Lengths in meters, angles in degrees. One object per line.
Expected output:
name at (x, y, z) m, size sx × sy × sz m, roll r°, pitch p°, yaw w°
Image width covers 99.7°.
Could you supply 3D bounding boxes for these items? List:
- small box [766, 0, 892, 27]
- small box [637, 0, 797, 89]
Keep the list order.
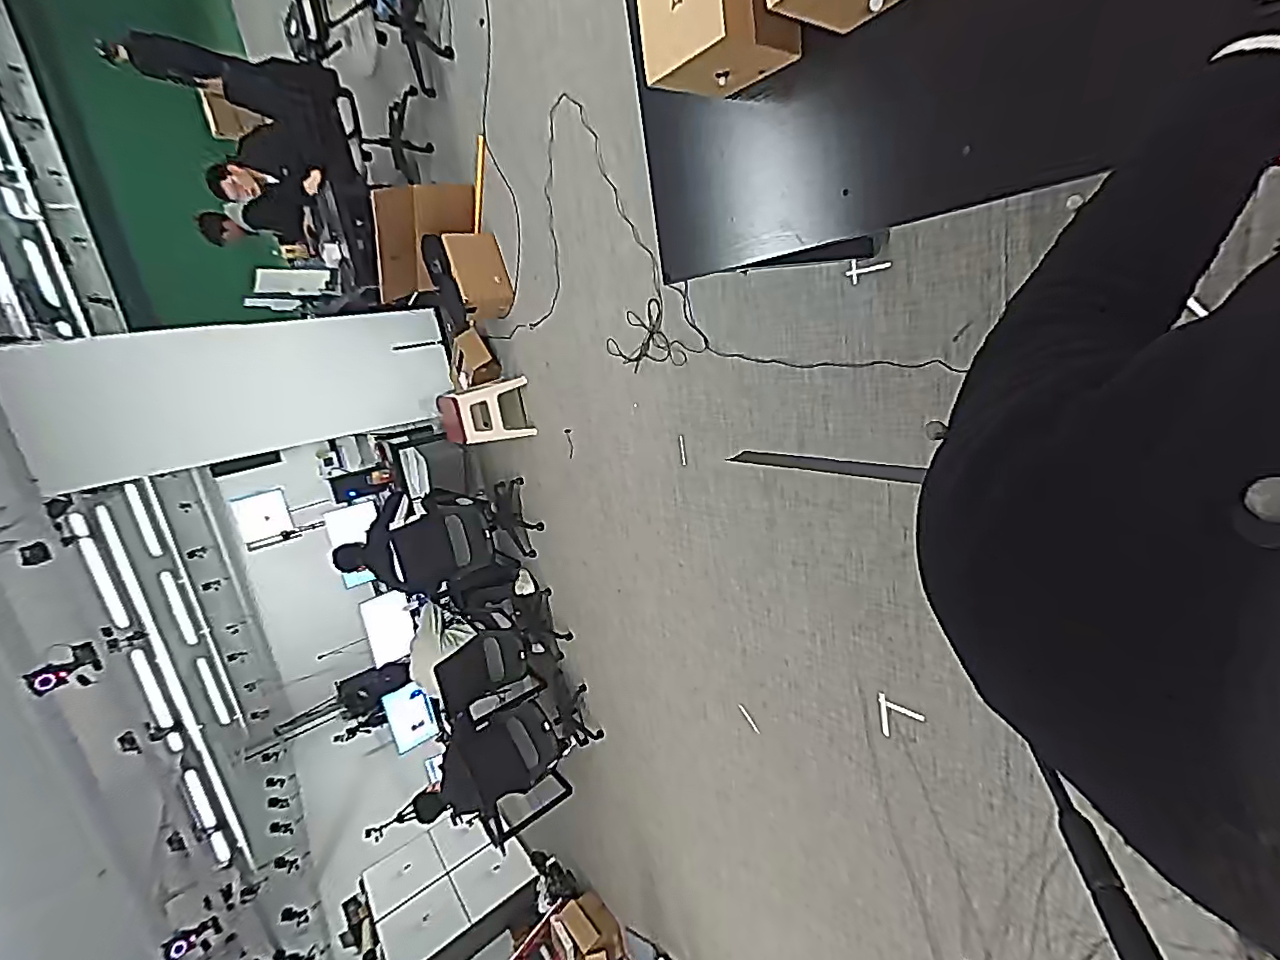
small box at (0.249, -0.667, 0.612) m, size 0.168 × 0.176 × 0.179 m, roll 9°, pitch 115°, yaw 52°
small box at (0.113, -0.699, 0.788) m, size 0.168 × 0.176 × 0.179 m, roll 14°, pitch 117°, yaw 50°
